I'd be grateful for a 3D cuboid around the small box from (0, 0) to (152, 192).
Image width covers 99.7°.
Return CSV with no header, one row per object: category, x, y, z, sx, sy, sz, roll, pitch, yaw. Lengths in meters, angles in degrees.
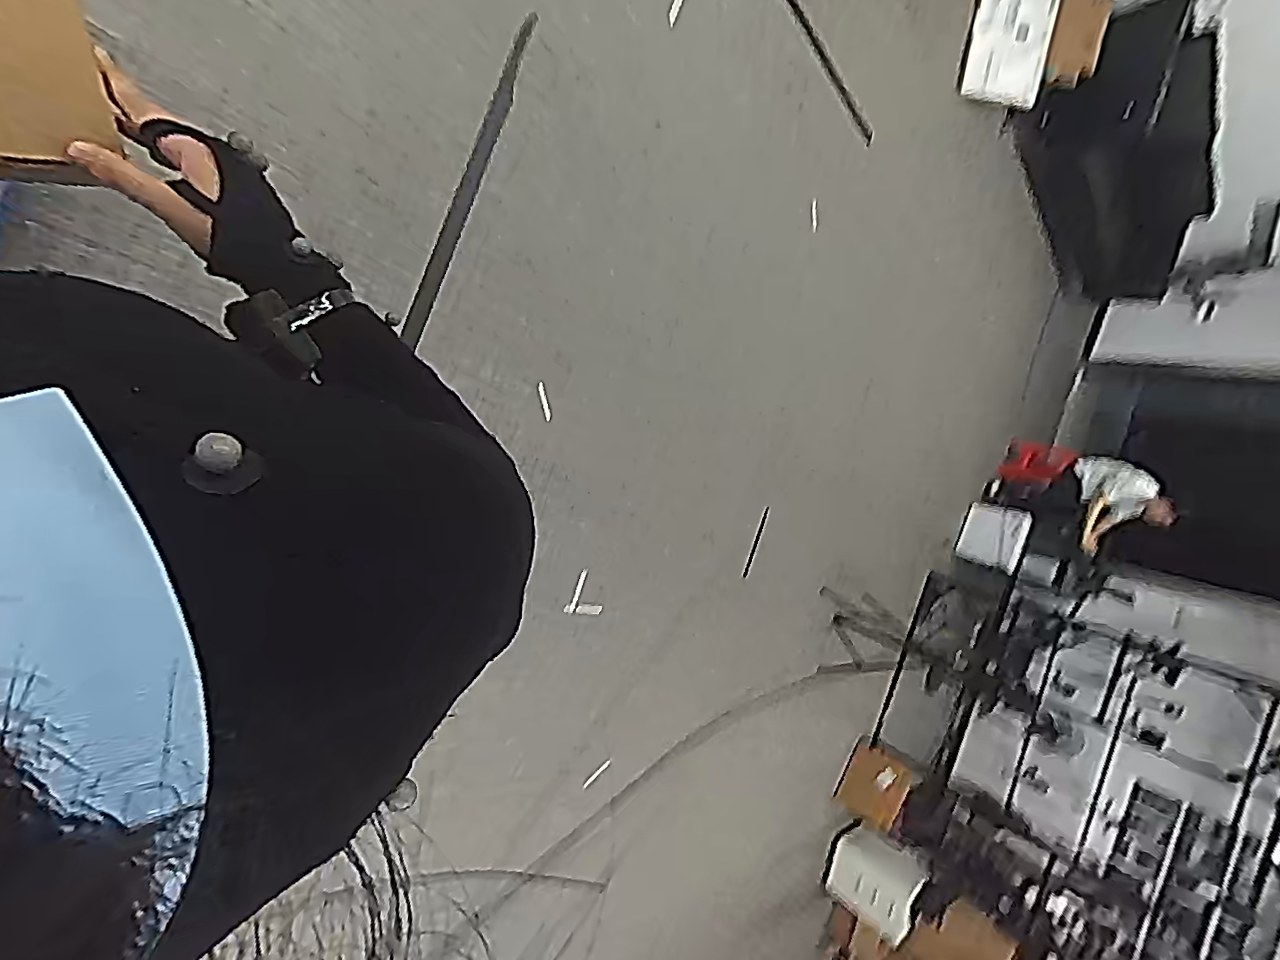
small box,-0.448,-0.295,0.343,0.168,0.176,0.179,-18,119,-41
